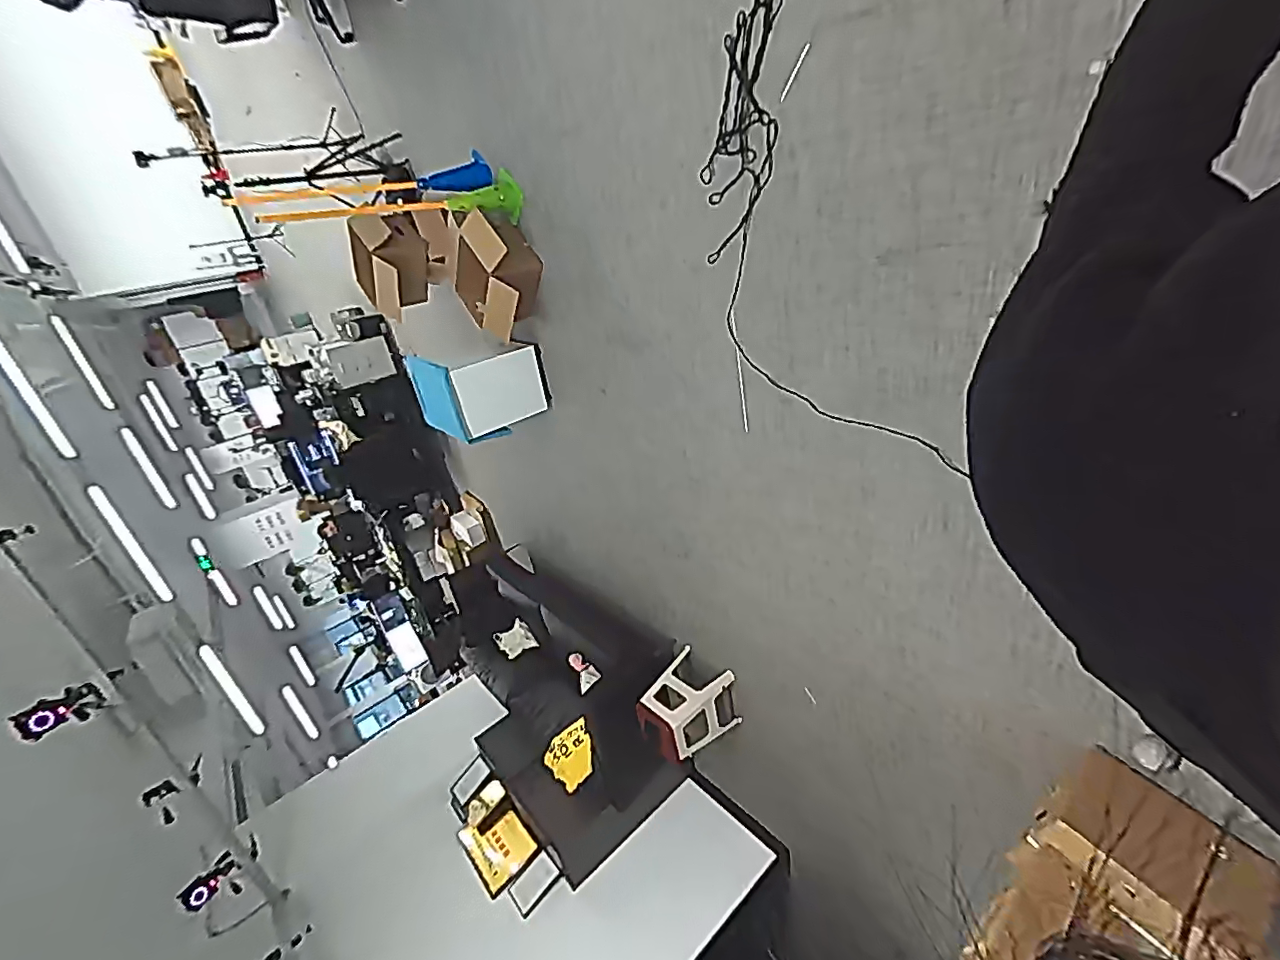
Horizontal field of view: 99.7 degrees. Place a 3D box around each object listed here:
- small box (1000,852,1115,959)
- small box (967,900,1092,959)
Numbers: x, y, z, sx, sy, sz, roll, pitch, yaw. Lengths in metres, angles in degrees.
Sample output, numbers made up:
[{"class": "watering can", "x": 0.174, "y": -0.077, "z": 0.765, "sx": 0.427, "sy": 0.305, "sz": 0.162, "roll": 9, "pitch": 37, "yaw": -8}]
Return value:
[{"class": "small box", "x": 1.103, "y": 1.138, "z": 1.431, "sx": 0.168, "sy": 0.176, "sz": 0.179, "roll": 37, "pitch": 142, "yaw": 35}, {"class": "small box", "x": 0.974, "y": 1.199, "z": 1.354, "sx": 0.179, "sy": 0.176, "sz": 0.168, "roll": 38, "pitch": 142, "yaw": 33}]
